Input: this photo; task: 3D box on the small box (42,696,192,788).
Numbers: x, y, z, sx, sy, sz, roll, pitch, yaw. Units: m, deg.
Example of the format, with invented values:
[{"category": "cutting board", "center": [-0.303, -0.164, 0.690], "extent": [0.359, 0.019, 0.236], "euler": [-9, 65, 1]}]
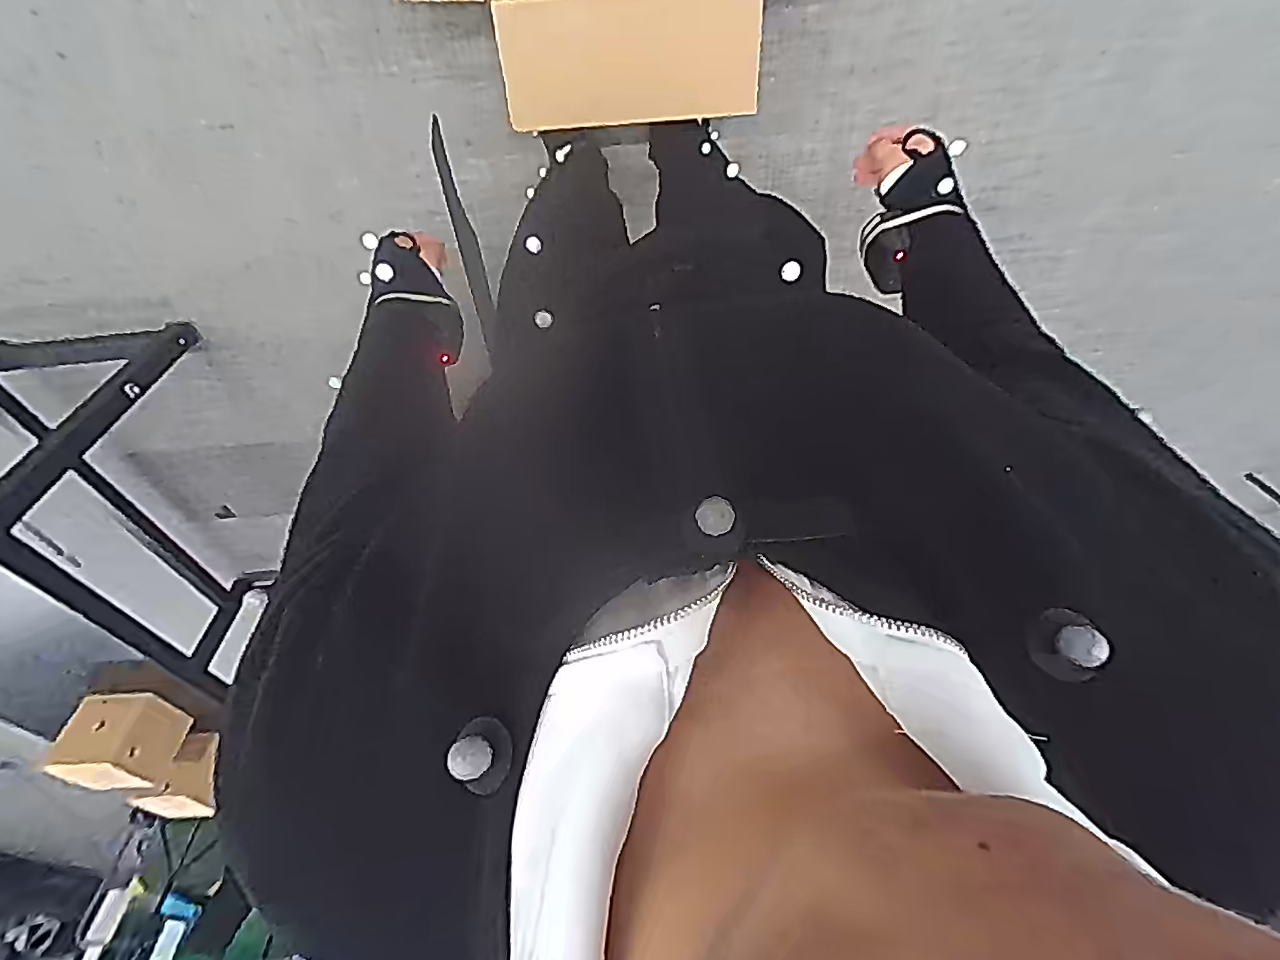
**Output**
[{"category": "small box", "center": [-1.292, 0.652, 1.353], "extent": [0.168, 0.176, 0.179], "euler": [-2, 136, 1]}]

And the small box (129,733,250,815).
[{"category": "small box", "center": [-1.275, 0.841, 1.549], "extent": [0.168, 0.176, 0.179], "euler": [-5, 136, 3]}]
